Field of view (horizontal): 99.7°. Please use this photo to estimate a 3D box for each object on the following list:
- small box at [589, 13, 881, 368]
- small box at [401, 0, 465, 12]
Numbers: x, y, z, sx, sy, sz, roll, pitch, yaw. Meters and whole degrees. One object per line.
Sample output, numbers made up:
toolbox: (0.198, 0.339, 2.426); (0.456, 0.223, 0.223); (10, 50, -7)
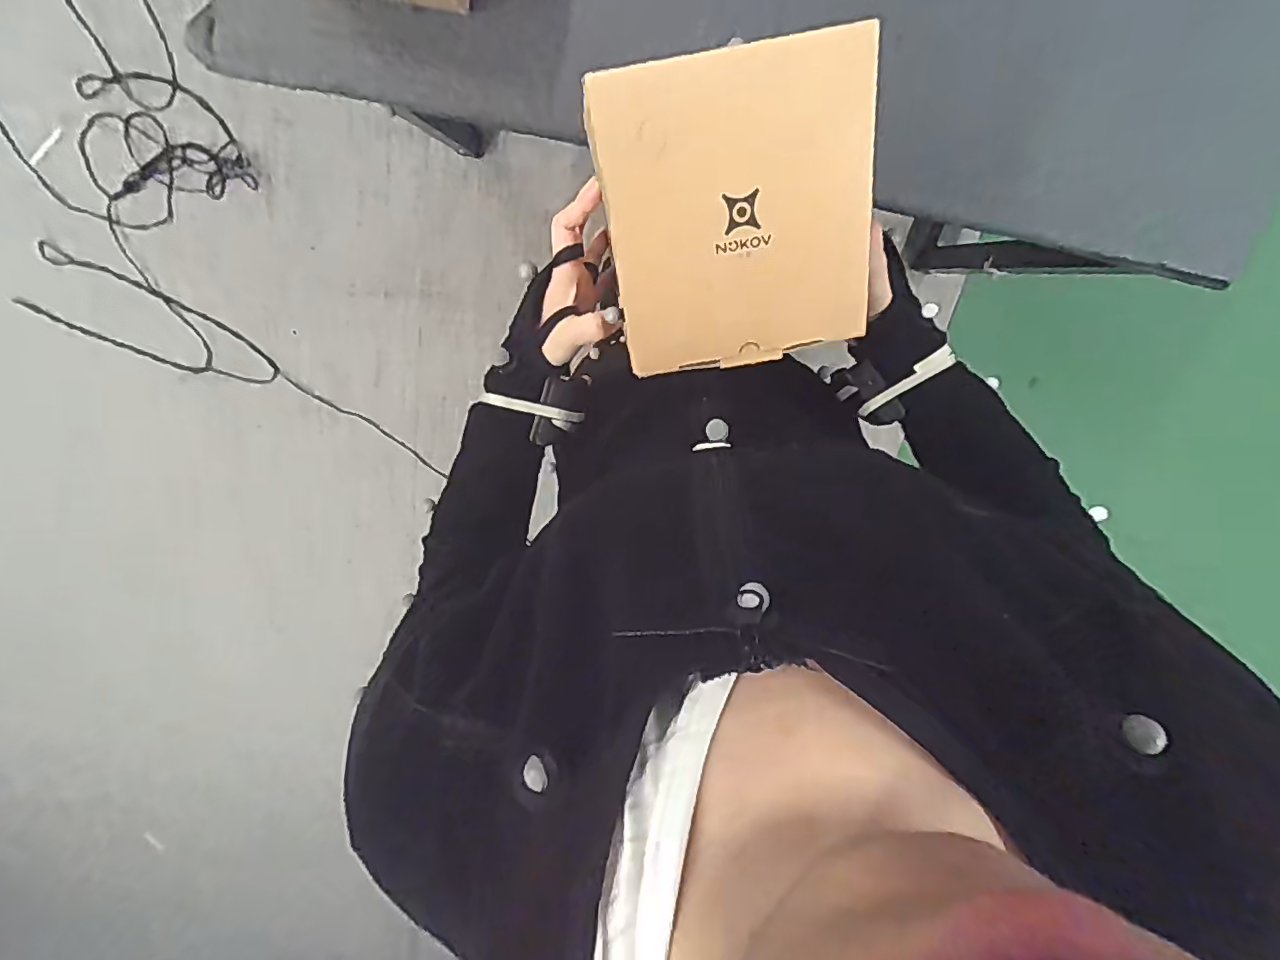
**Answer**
small box: (0.057, -0.202, 0.403); (0.168, 0.176, 0.179); (-10, 119, 0)
small box: (-0.244, -0.552, 0.455); (0.168, 0.176, 0.179); (9, 111, -4)
